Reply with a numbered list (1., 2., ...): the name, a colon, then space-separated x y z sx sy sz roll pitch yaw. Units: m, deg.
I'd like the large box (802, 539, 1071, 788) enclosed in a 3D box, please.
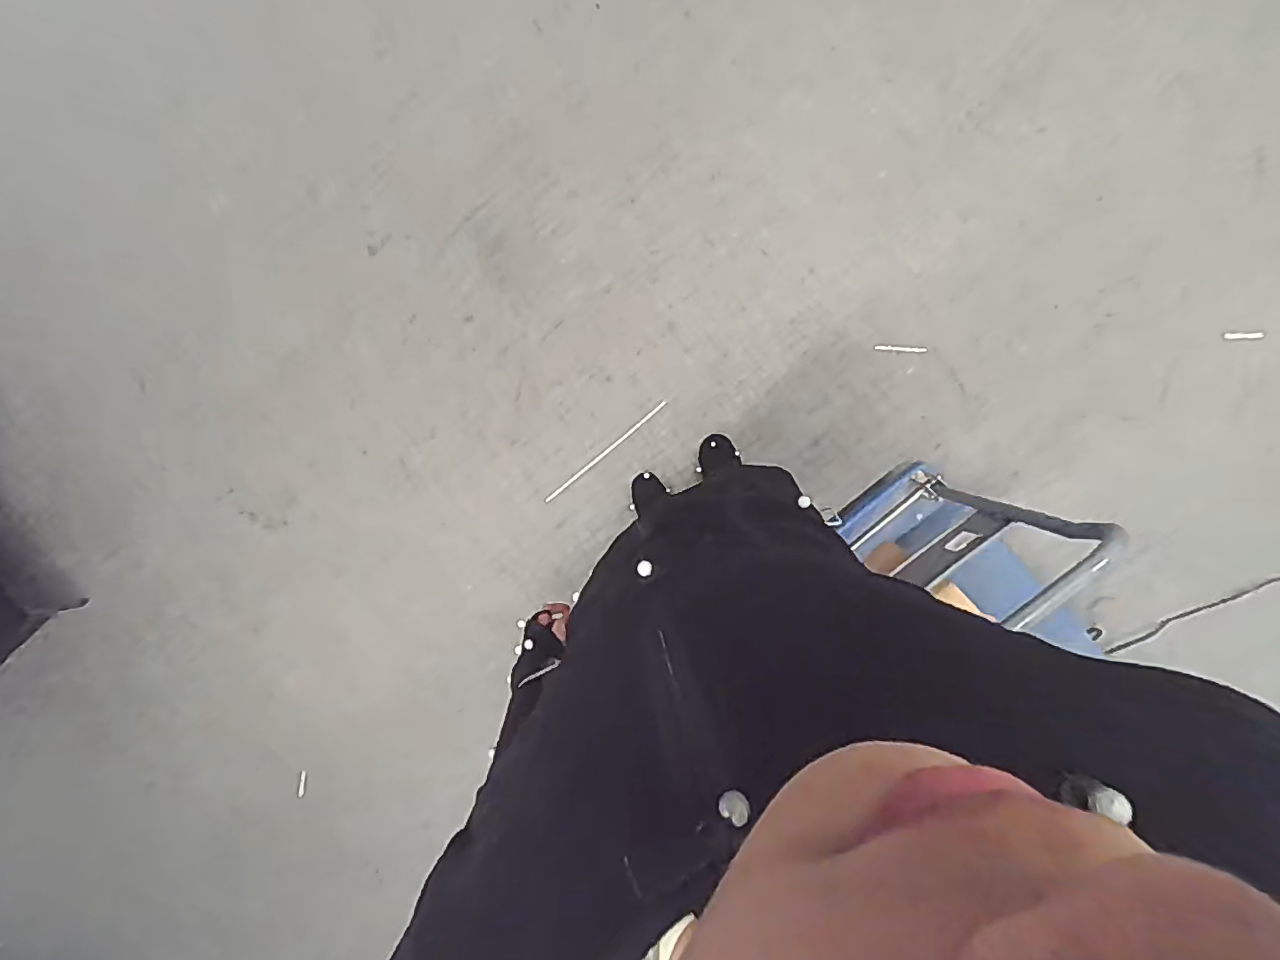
1. large box: 0.663 0.406 1.288 0.320 0.320 0.408 -44 90 8
